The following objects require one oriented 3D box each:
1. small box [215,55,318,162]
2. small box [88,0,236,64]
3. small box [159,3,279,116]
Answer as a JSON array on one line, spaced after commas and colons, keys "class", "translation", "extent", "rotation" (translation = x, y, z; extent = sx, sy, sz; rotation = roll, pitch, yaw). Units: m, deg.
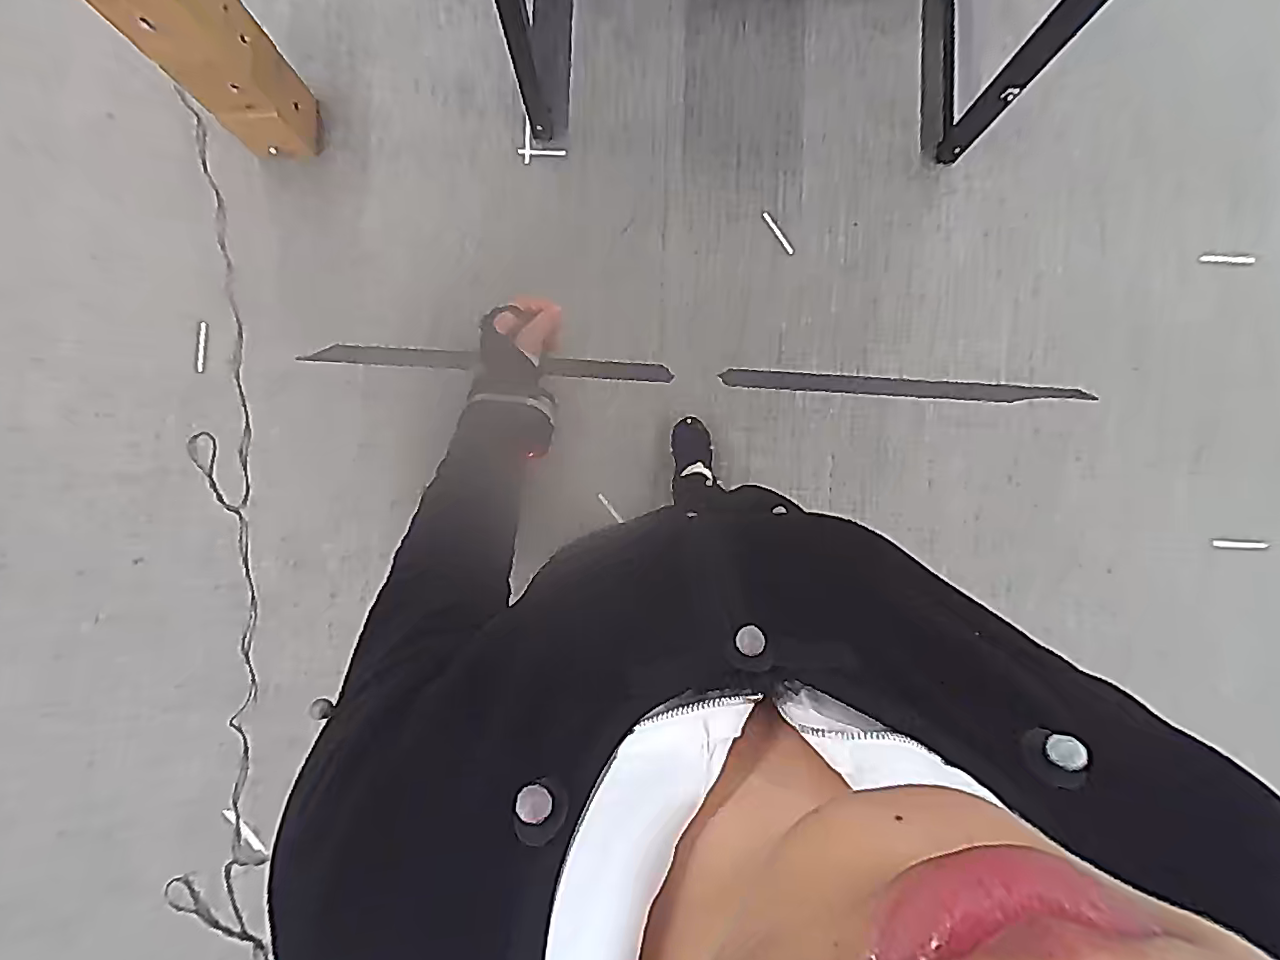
[{"class": "small box", "translation": [-0.984, -0.981, 1.435], "extent": [0.168, 0.176, 0.179], "rotation": [-1, 89, 0]}, {"class": "small box", "translation": [-0.979, -0.995, 1.110], "extent": [0.179, 0.176, 0.168], "rotation": [-1, 88, -1]}, {"class": "small box", "translation": [-0.985, -0.992, 1.273], "extent": [0.168, 0.176, 0.179], "rotation": [-5, 87, -2]}]
